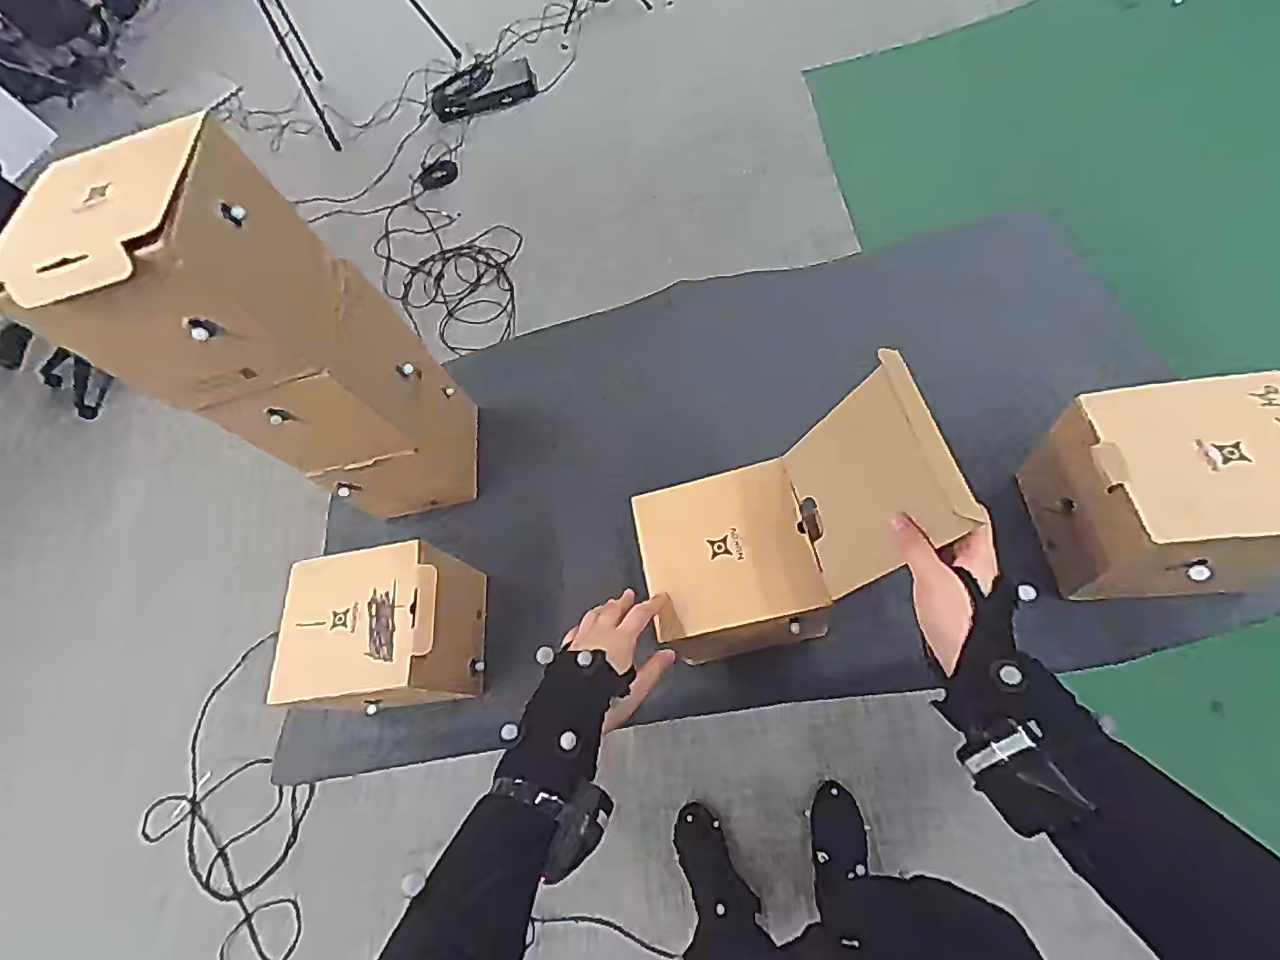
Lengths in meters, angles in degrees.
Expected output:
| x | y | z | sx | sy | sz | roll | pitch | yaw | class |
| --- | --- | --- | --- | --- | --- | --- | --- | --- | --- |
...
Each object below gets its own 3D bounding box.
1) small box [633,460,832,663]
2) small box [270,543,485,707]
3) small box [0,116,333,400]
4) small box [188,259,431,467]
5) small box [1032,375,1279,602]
| x | y | z | sx | sy | sz | roll | pitch | yaw | class |
| --- | --- | --- | --- | --- | --- | --- | --- | --- | --- |
| 0.107 | 0.104 | 0.624 | 0.179 | 0.176 | 0.168 | -15 | 62 | 8 | small box |
| -0.312 | 0.191 | 0.684 | 0.179 | 0.176 | 0.168 | -10 | 64 | 9 | small box |
| -0.427 | -0.196 | 0.521 | 0.168 | 0.176 | 0.179 | -14 | 63 | 5 | small box |
| -0.386 | -0.131 | 0.664 | 0.179 | 0.176 | 0.168 | -11 | 65 | 8 | small box |
| 0.538 | 0.020 | 0.551 | 0.179 | 0.176 | 0.168 | -6 | 60 | 12 | small box |
